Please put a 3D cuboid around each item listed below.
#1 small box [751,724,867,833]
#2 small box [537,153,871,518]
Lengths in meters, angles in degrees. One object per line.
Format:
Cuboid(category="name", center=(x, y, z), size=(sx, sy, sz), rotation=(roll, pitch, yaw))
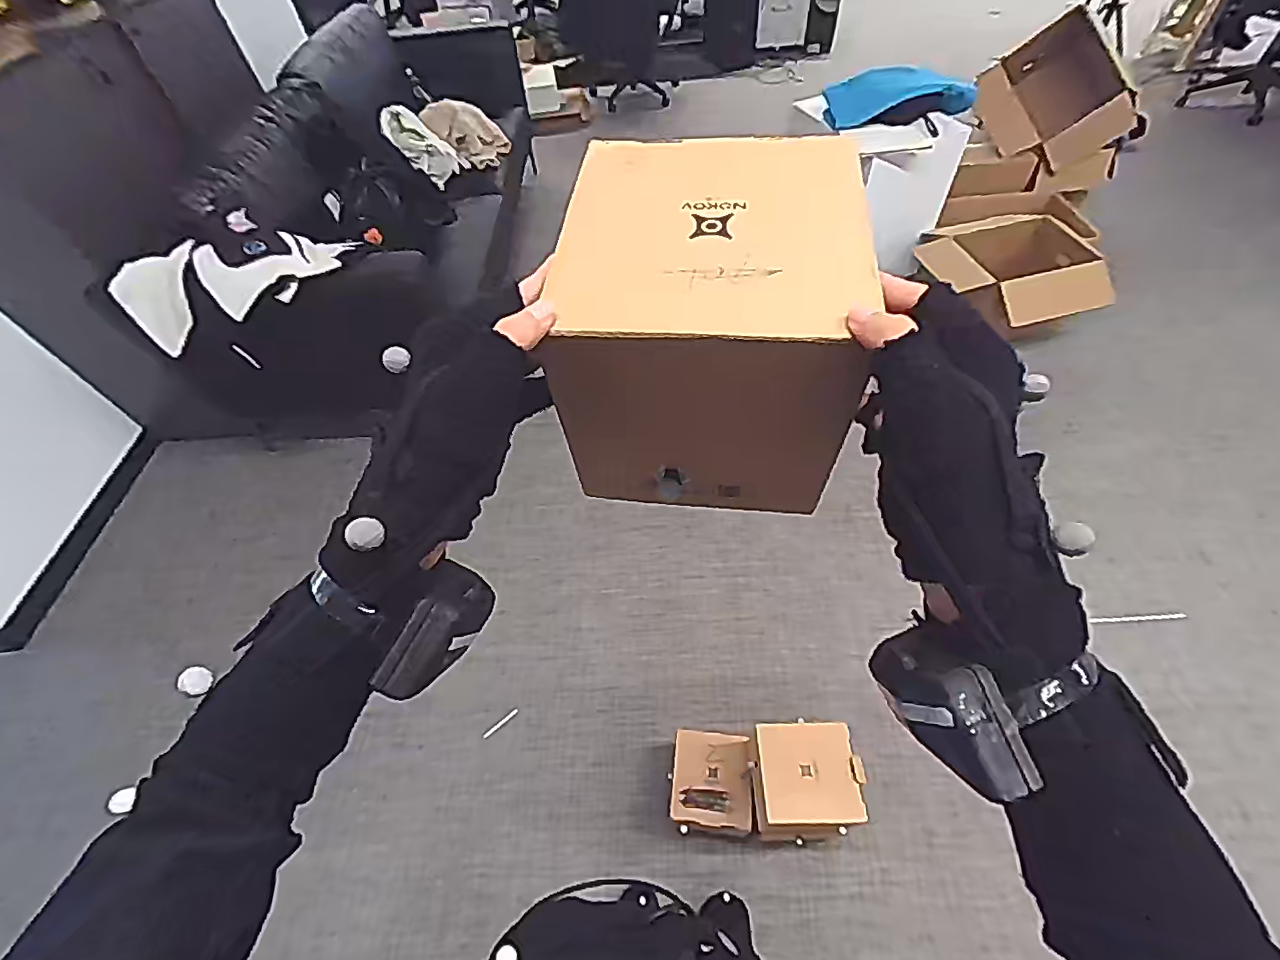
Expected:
Cuboid(category="small box", center=(0.314, 0.583, 1.051), size=(0.179, 0.176, 0.168), rotation=(-3, 53, 3))
Cuboid(category="small box", center=(0.044, -0.094, 0.371), size=(0.168, 0.176, 0.179), rotation=(3, 59, 8))
